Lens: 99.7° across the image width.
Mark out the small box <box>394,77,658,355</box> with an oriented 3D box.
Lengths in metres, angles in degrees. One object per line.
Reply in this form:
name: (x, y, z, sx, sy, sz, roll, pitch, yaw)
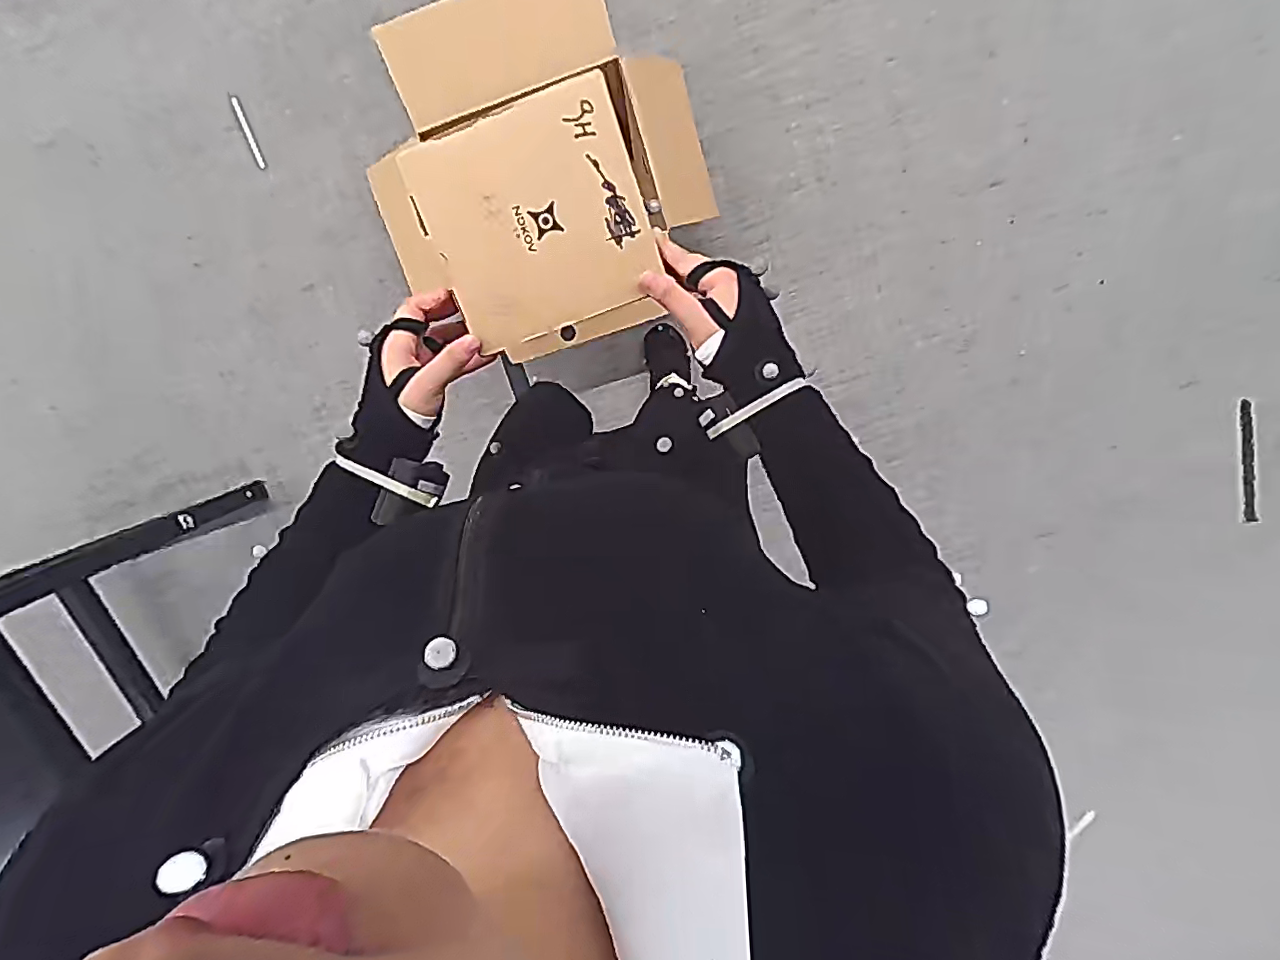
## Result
small box: (-0.088, -0.231, 0.516, 0.179, 0.176, 0.168, -19, 108, 7)
